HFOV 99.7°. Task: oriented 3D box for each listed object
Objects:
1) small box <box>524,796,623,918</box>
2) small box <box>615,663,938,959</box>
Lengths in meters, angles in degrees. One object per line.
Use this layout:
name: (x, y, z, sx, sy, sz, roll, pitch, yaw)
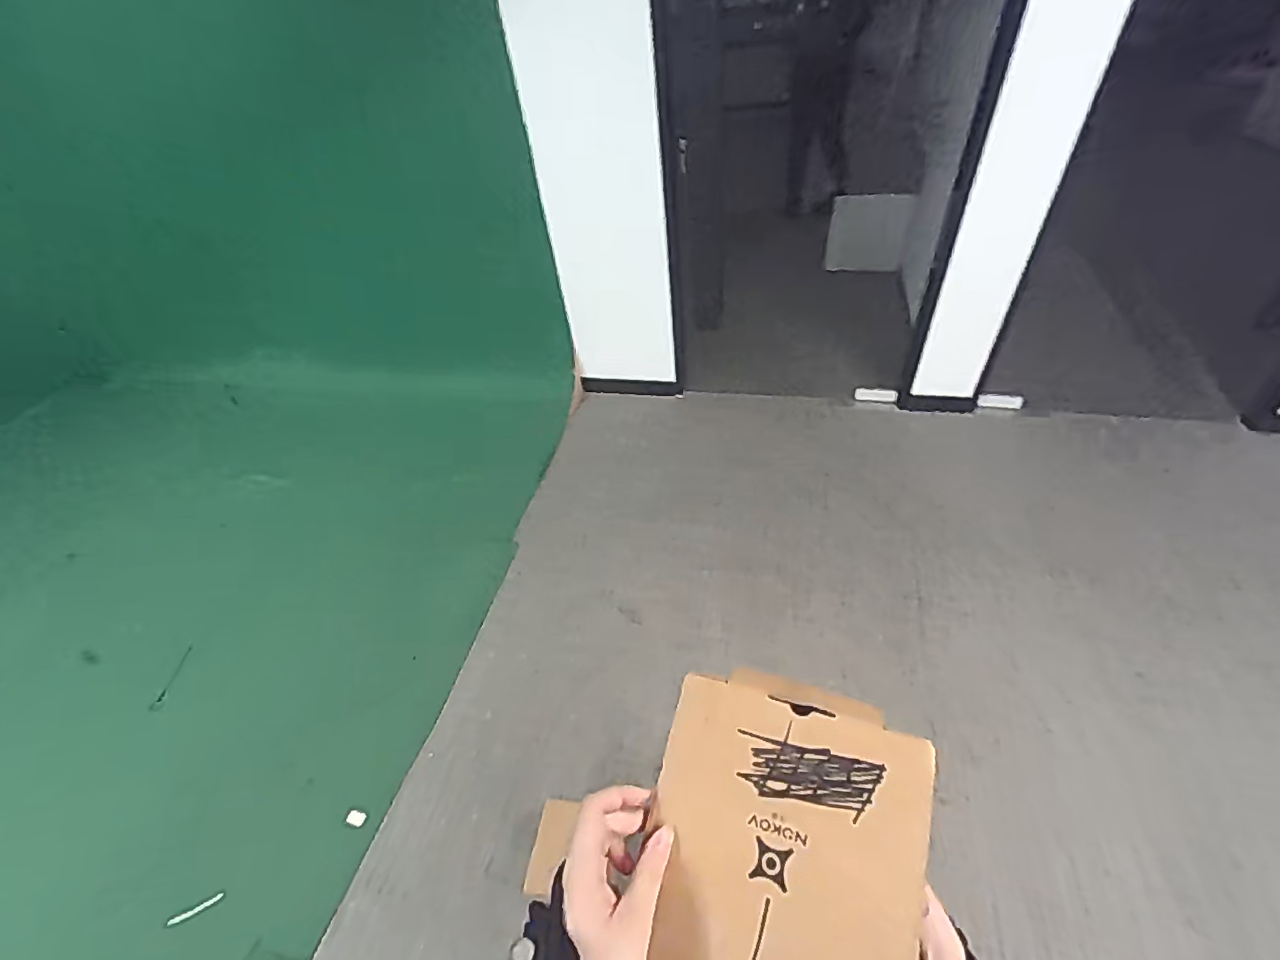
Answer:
small box: (-0.137, 0.833, 1.196, 0.168, 0.176, 0.179, 3, 45, 11)
small box: (0.103, 0.257, 0.395, 0.168, 0.176, 0.179, 9, 65, 21)
